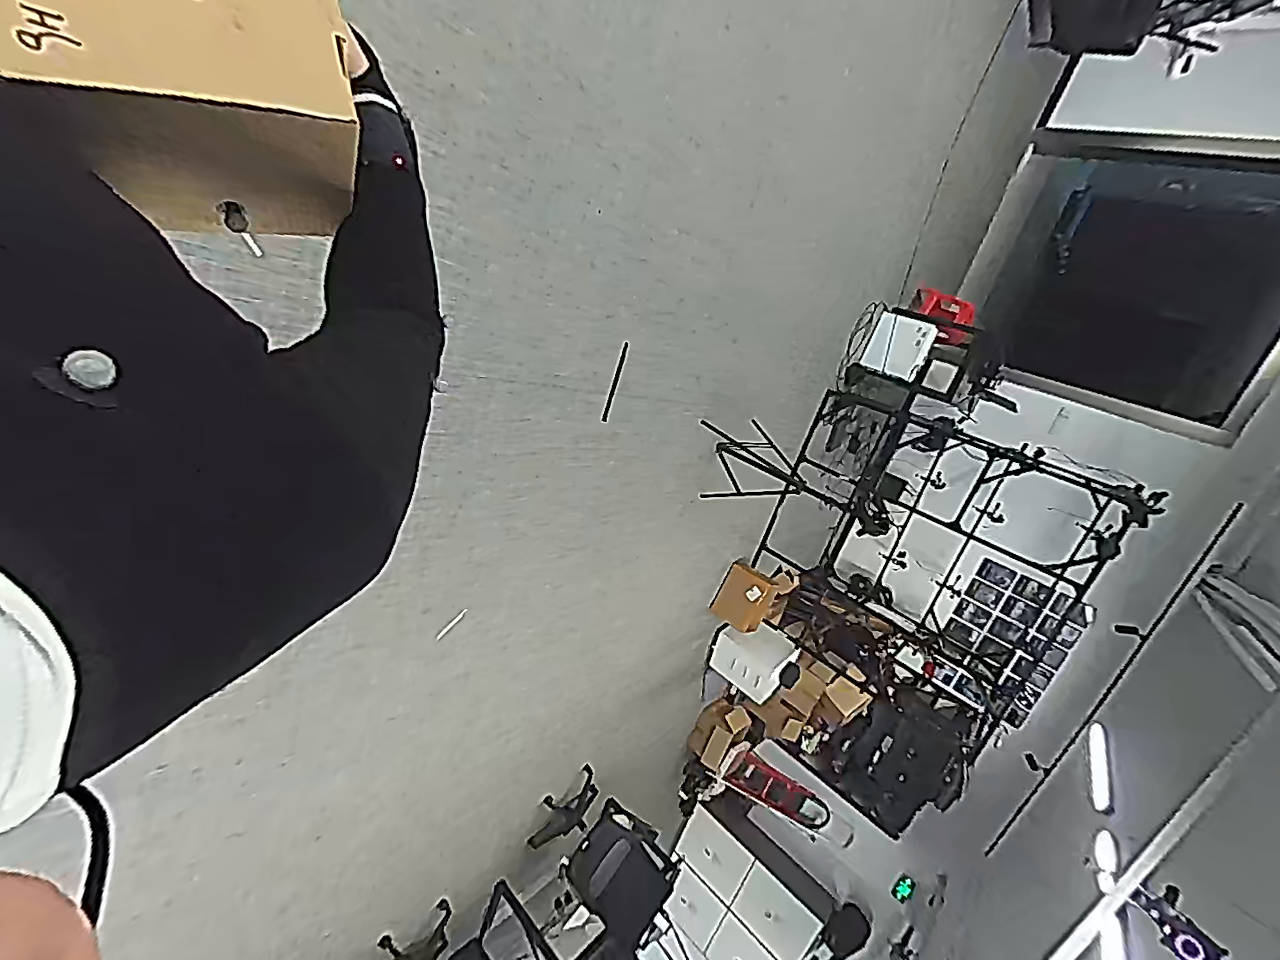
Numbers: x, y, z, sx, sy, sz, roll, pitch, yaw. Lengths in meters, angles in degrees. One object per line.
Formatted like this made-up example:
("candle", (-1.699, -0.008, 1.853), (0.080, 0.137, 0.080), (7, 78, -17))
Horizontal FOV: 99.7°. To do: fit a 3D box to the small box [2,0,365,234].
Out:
("small box", (-0.327, -0.305, 0.409), (0.179, 0.176, 0.168), (-13, 91, -31))
